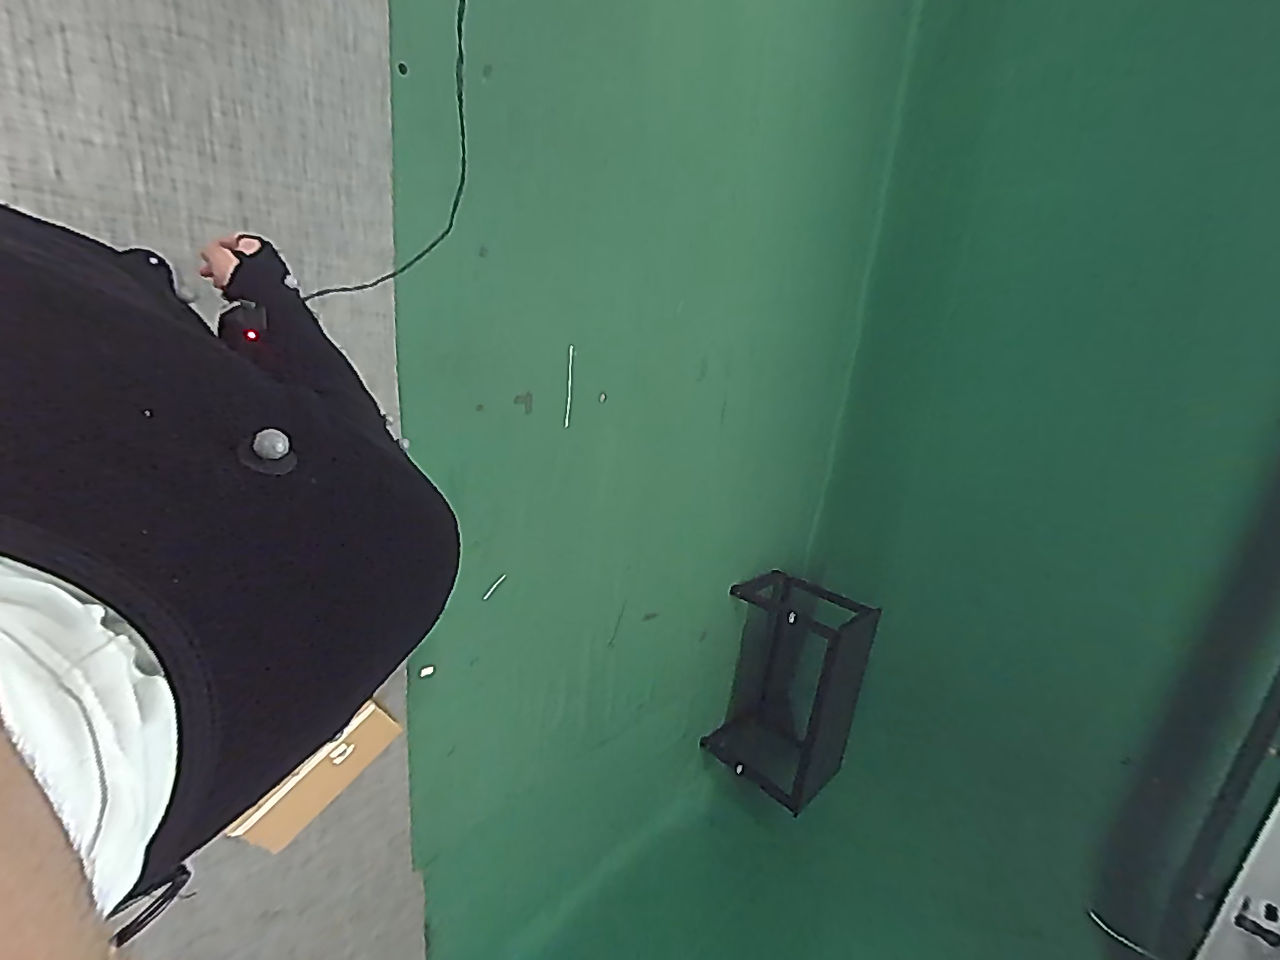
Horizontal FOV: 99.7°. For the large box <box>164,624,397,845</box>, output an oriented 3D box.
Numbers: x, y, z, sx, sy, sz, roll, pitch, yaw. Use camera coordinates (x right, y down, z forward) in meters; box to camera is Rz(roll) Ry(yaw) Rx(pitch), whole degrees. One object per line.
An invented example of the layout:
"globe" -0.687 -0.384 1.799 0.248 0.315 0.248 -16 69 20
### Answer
"large box" -0.994 0.694 1.516 0.408 0.320 0.320 -45 134 -28
